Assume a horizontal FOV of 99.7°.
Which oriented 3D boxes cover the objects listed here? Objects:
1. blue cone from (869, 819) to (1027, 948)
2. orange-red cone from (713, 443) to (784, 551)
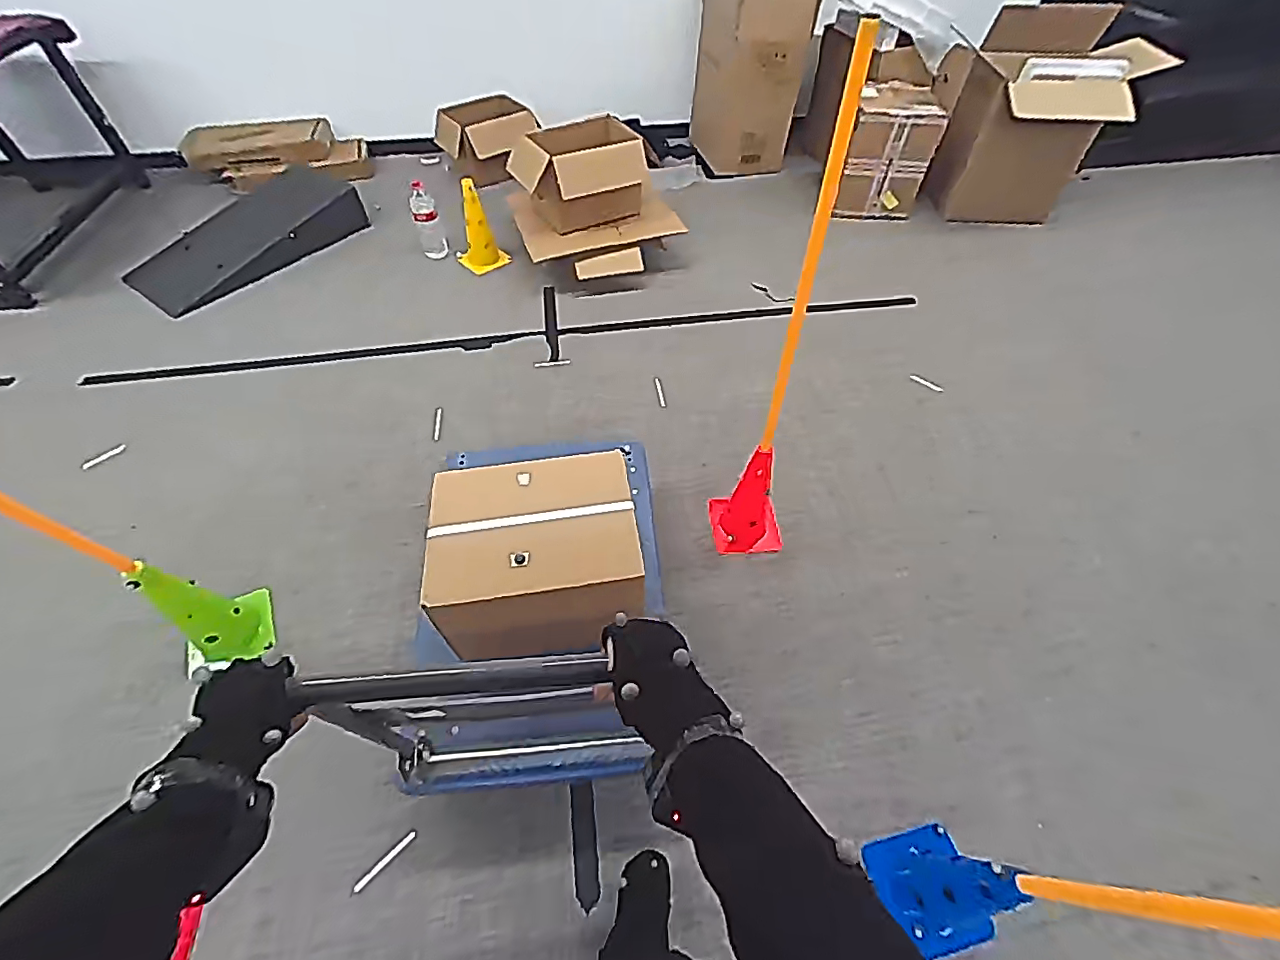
[{"bbox_3d":[0.591,0.722,0.984,0.193,0.380,0.192,-10,52,-8],"label":"blue cone"},{"bbox_3d":[0.328,0.025,1.508,0.199,0.360,0.198,-1,53,-2],"label":"orange-red cone"}]
